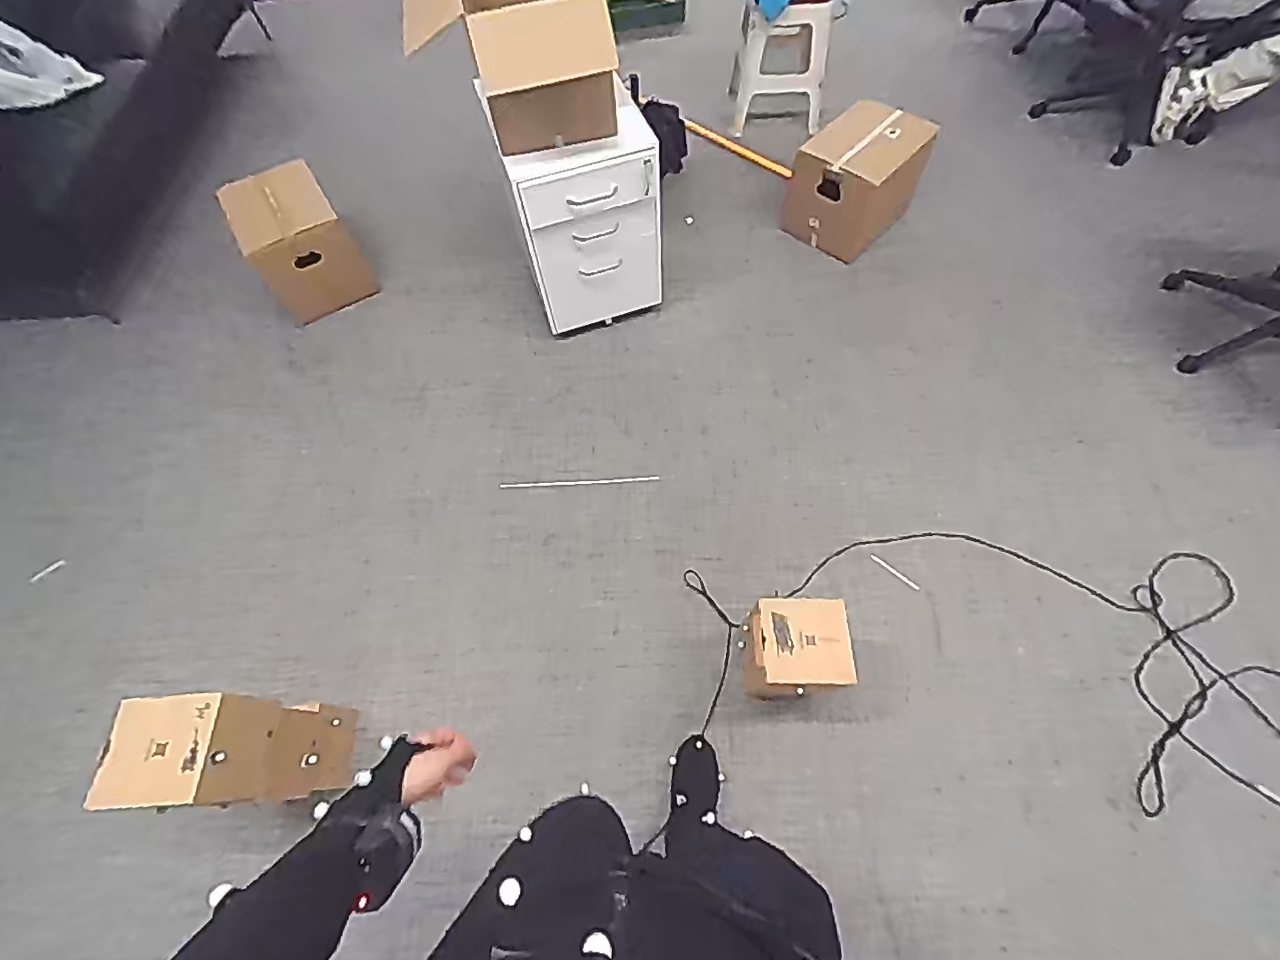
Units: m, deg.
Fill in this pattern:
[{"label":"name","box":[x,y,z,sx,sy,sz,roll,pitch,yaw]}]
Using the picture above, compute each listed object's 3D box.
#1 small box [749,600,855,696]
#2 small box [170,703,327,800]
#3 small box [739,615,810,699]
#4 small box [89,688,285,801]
[{"label":"small box","box":[0.326,0.356,1.133,0.179,0.176,0.168,1,62,2]},{"label":"small box","box":[-0.780,0.551,1.097,0.179,0.176,0.168,-3,63,0]},{"label":"small box","box":[0.332,0.423,1.283,0.179,0.176,0.168,0,62,2]},{"label":"small box","box":[-0.782,0.467,0.956,0.179,0.176,0.168,-4,63,2]}]
